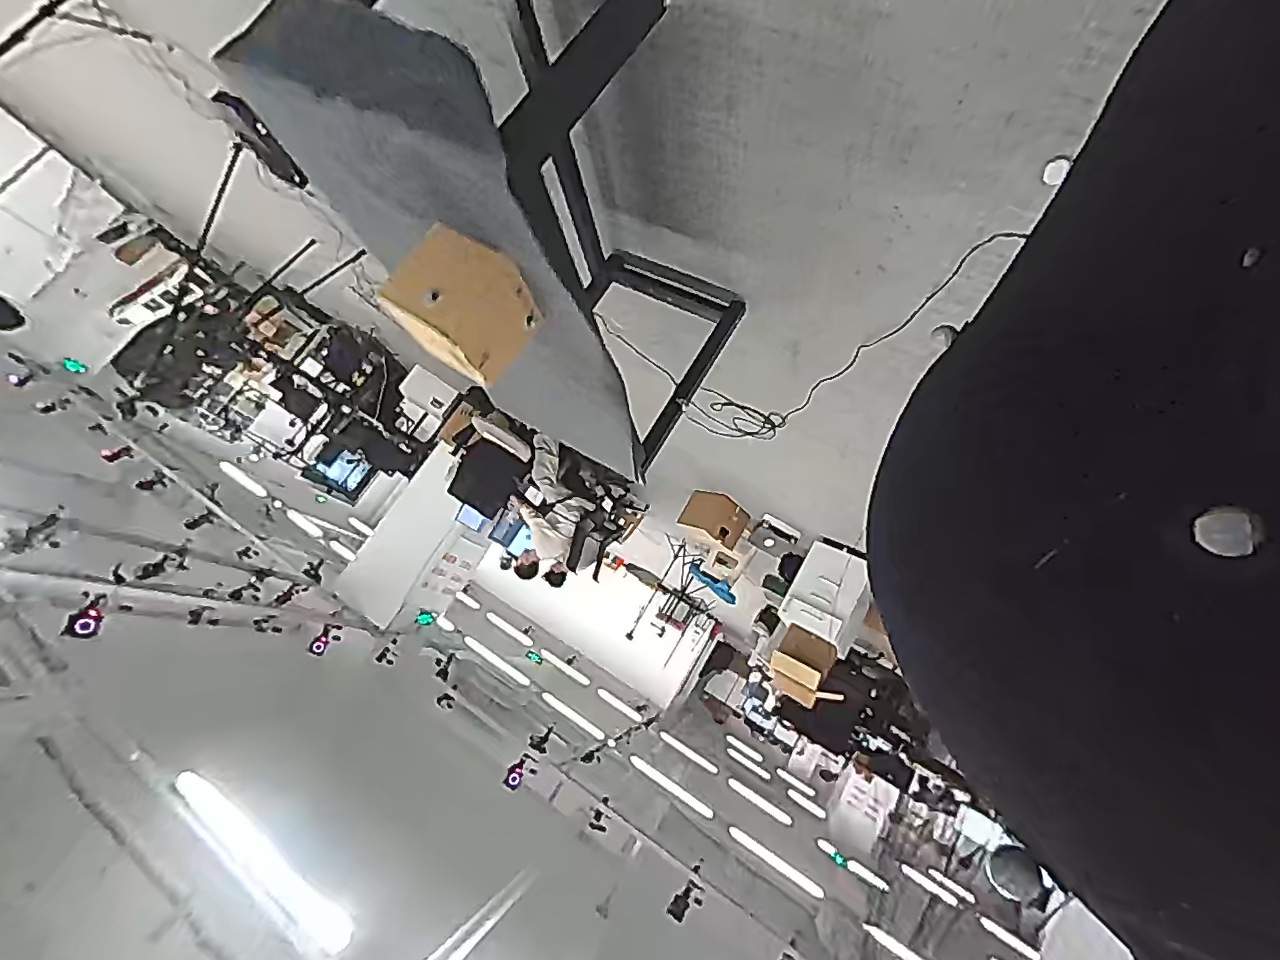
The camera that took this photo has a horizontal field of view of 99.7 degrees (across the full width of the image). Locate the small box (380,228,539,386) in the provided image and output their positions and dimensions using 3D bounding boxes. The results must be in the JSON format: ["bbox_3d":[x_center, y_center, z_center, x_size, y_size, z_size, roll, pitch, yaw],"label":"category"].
[{"bbox_3d":[-0.298,-0.301,0.941,0.179,0.176,0.168,31,168,17],"label":"small box"}]
